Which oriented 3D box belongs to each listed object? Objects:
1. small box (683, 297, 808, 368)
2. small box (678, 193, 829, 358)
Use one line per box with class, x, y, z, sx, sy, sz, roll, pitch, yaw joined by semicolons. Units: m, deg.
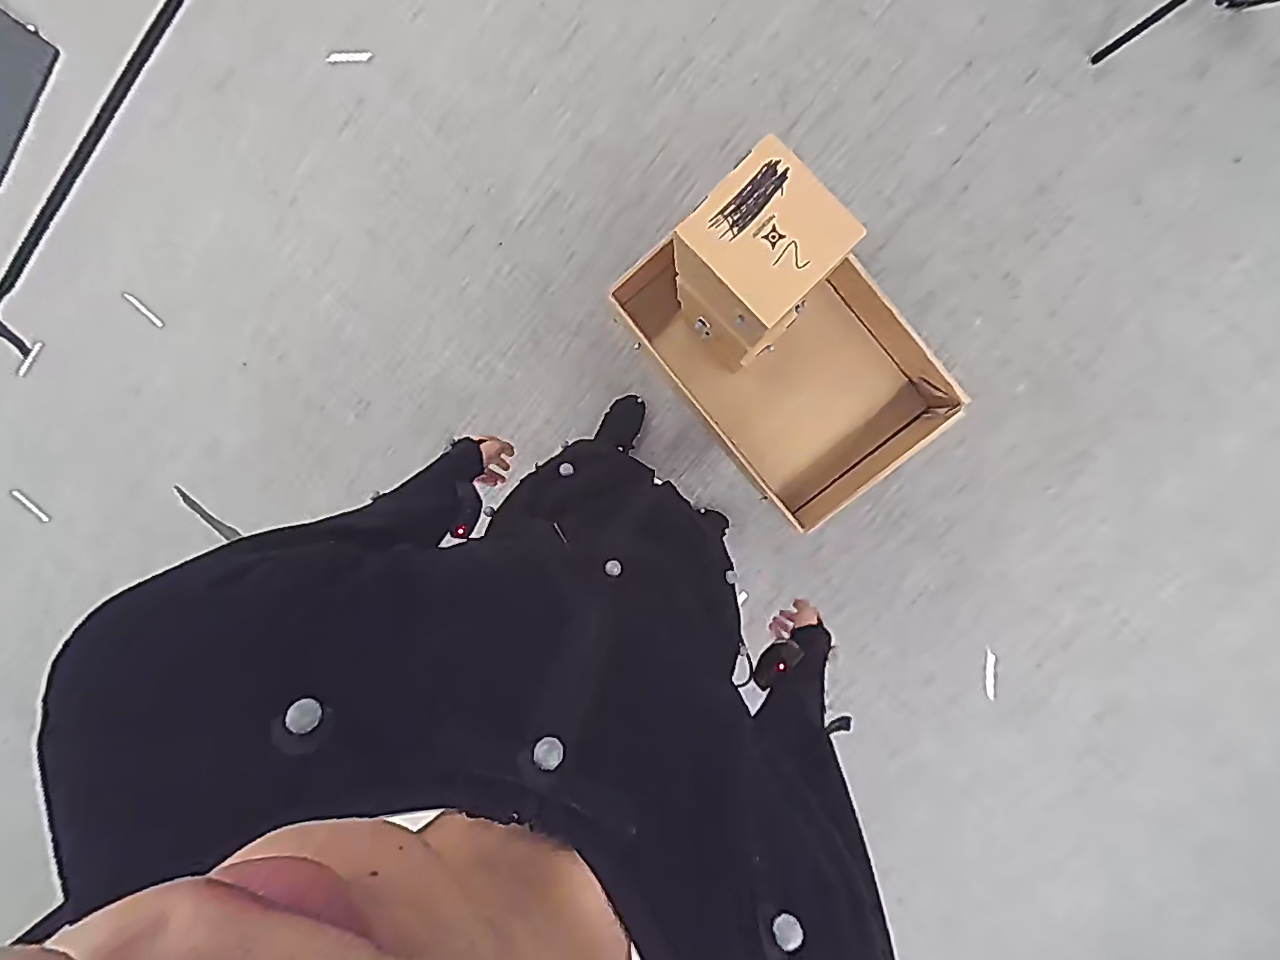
small box;0.197;-0.340;1.073;0.168;0.176;0.179;-43;93;8
small box;0.178;-0.329;0.910;0.168;0.176;0.179;45;98;-1
